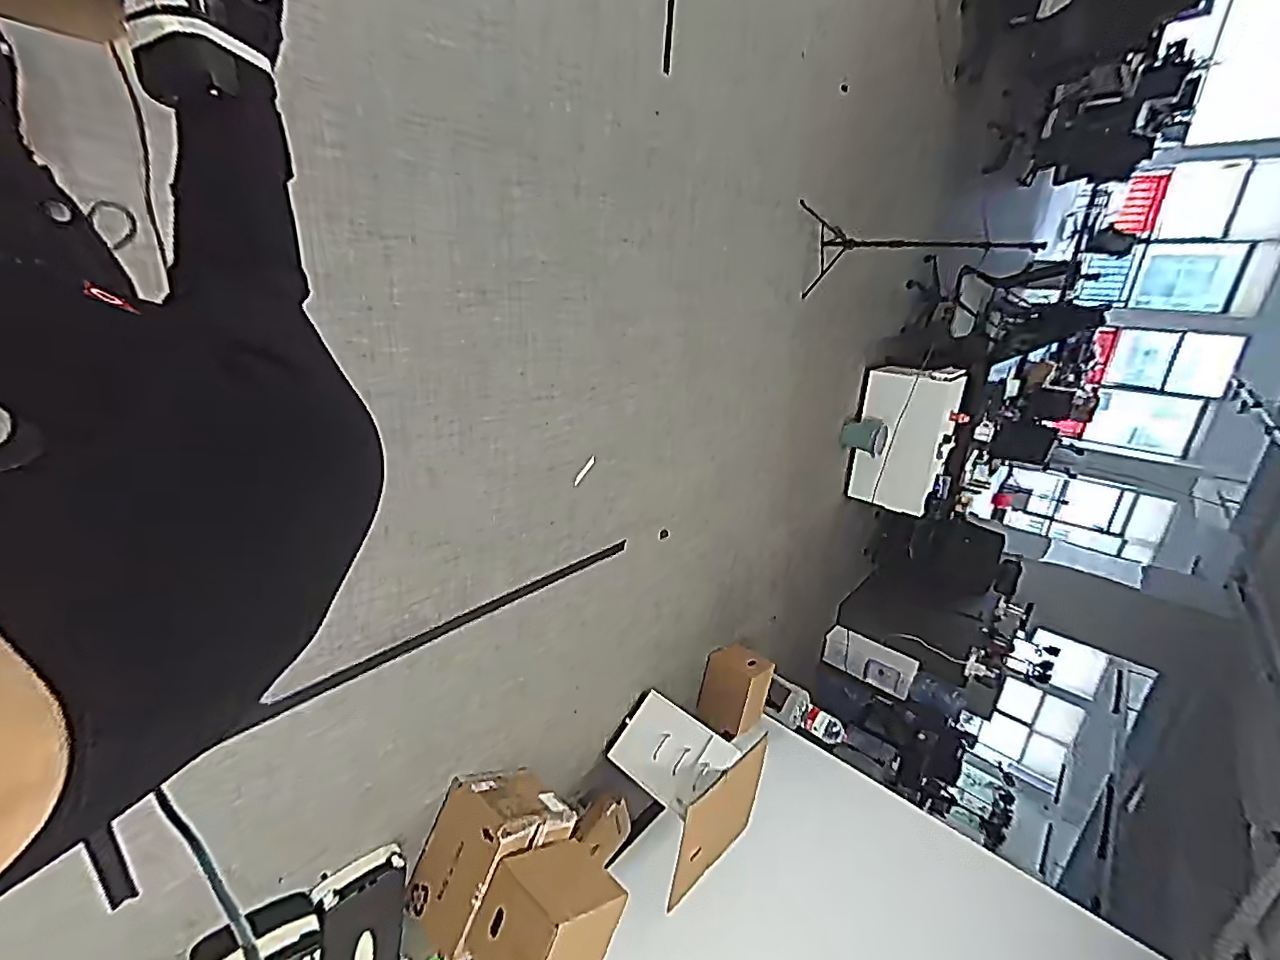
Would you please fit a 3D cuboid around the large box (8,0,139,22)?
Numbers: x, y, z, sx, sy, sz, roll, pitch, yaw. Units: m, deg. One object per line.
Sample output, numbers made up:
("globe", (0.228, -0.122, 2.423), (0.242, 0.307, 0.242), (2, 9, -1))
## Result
("large box", (-0.541, -0.497, 0.259), (0.408, 0.320, 0.320), (-18, 127, -48))
